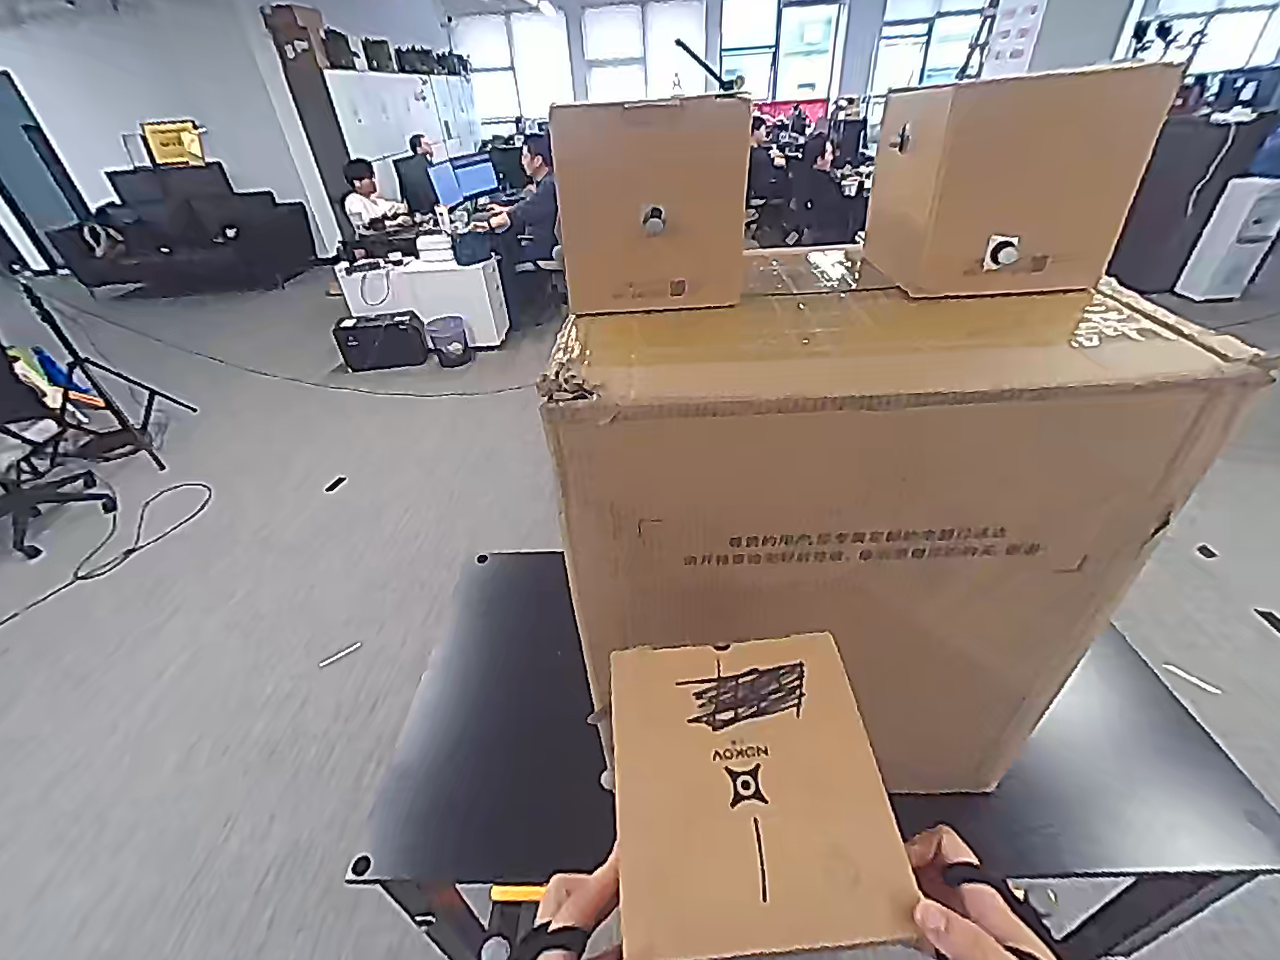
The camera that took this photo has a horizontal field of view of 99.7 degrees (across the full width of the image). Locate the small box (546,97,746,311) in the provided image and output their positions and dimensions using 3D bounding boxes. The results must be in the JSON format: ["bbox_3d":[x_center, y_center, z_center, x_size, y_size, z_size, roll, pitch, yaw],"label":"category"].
[{"bbox_3d":[0.006,-0.275,0.545,0.168,0.176,0.179,-4,35,-2],"label":"small box"}]

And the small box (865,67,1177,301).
[{"bbox_3d":[0.332,-0.283,0.524,0.168,0.176,0.179,-3,35,6],"label":"small box"}]
